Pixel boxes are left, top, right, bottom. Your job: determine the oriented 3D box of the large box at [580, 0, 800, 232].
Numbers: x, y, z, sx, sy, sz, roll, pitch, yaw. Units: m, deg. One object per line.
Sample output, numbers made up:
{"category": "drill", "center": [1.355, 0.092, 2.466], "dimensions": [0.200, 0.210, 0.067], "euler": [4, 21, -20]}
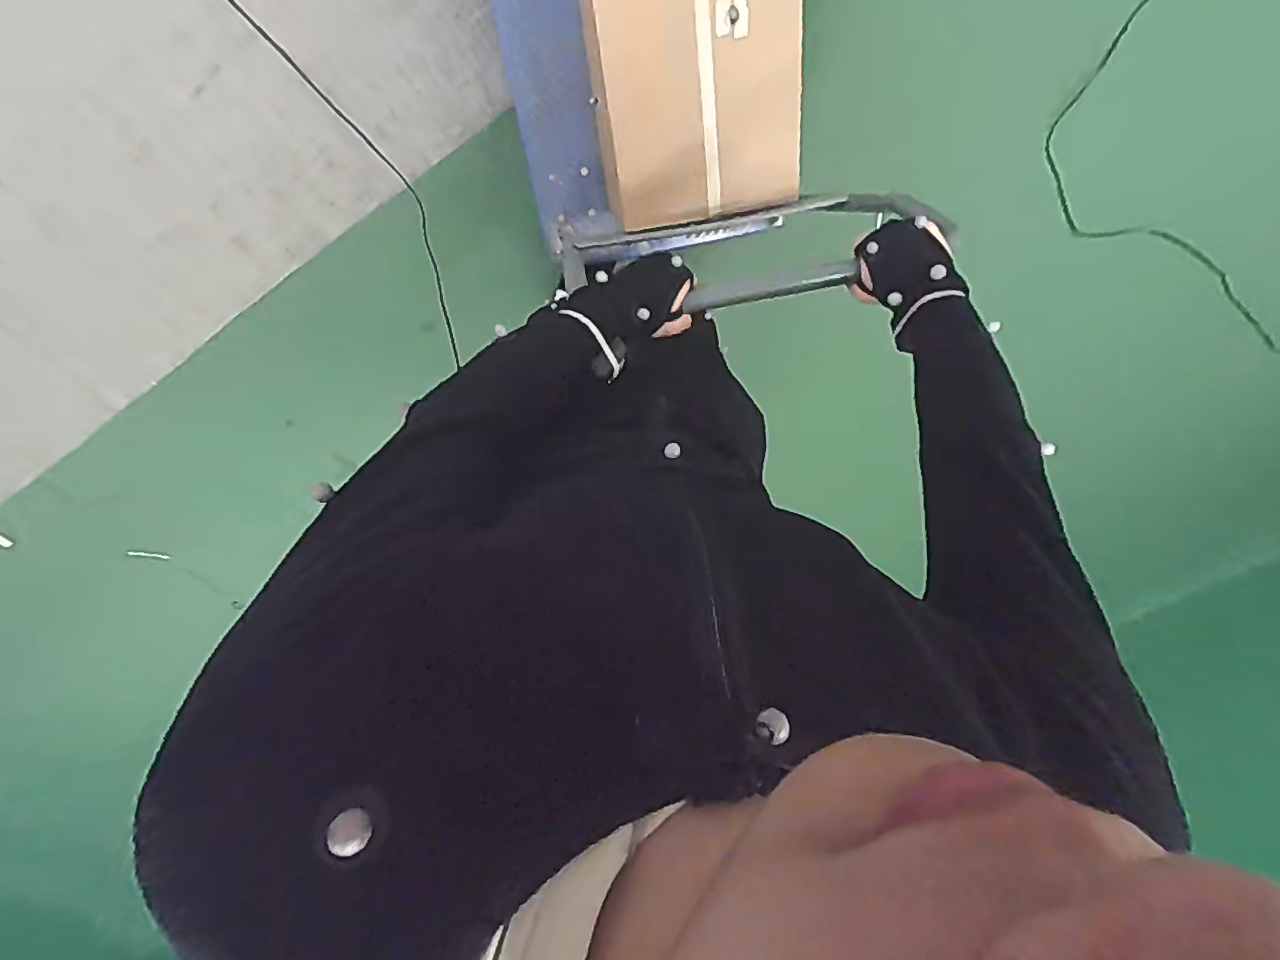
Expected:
{"category": "large box", "center": [0.083, -0.704, 0.973], "dimensions": [0.320, 0.320, 0.408], "euler": [-12, 122, -2]}
